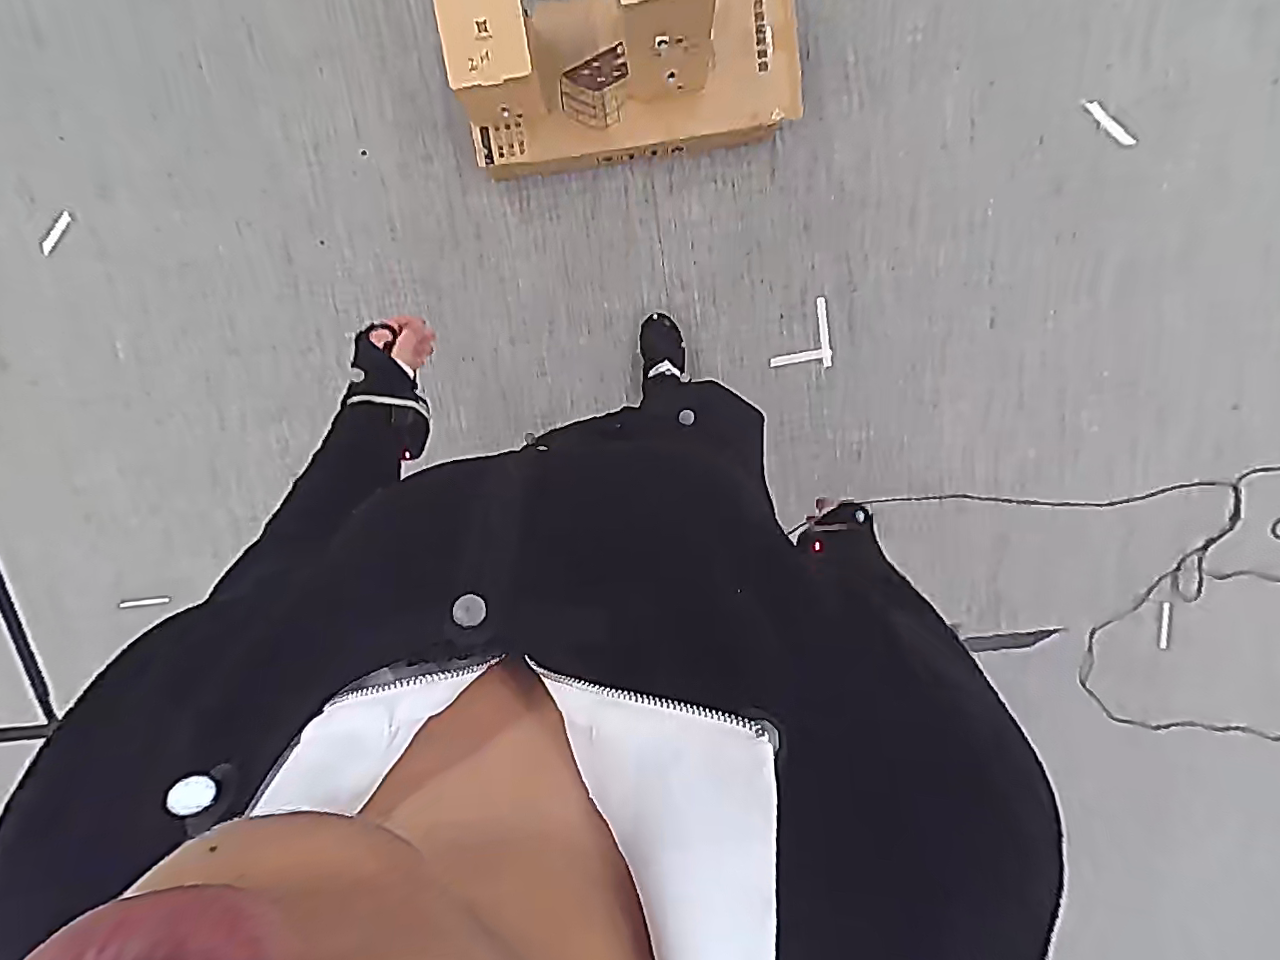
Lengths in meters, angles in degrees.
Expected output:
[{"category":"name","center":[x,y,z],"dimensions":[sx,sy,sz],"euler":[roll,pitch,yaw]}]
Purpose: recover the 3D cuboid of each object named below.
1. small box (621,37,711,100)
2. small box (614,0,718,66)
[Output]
[{"category":"small box","center":[0.047,-0.909,1.101],"dimensions":[0.168,0.176,0.179],"euler":[-10,102,3]},{"category":"small box","center":[0.035,-0.877,0.941],"dimensions":[0.168,0.176,0.179],"euler":[-12,101,4]}]
